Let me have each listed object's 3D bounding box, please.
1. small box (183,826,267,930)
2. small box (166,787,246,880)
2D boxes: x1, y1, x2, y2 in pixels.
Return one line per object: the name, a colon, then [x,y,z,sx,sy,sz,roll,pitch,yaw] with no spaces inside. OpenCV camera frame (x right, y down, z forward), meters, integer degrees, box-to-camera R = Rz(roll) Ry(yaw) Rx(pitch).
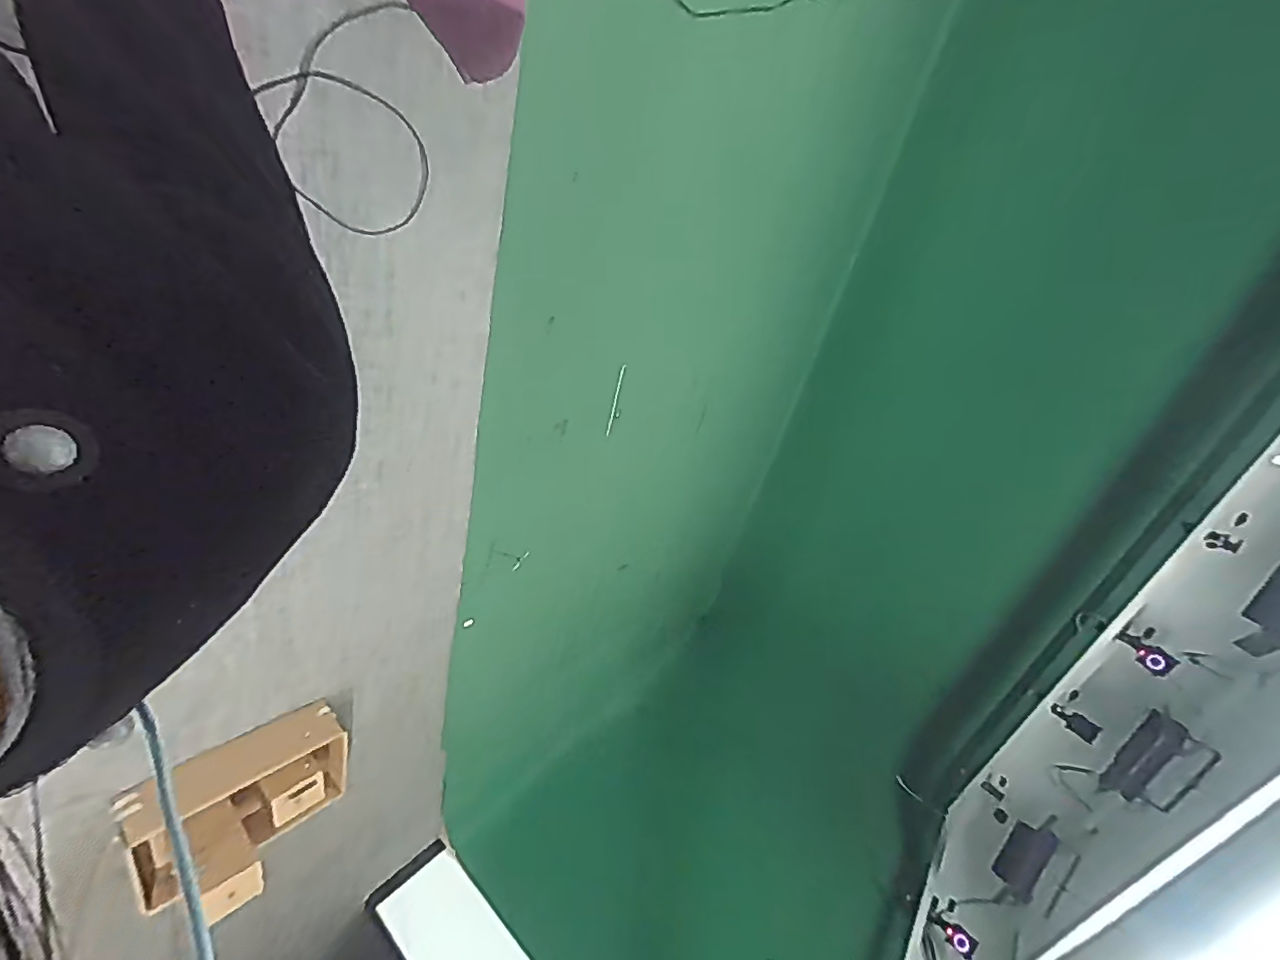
small box: [-1.303,1.235,1.697,0.168,0.176,0.179,-17,131,-50]
small box: [-1.424,1.164,1.780,0.168,0.176,0.179,-19,132,-51]
